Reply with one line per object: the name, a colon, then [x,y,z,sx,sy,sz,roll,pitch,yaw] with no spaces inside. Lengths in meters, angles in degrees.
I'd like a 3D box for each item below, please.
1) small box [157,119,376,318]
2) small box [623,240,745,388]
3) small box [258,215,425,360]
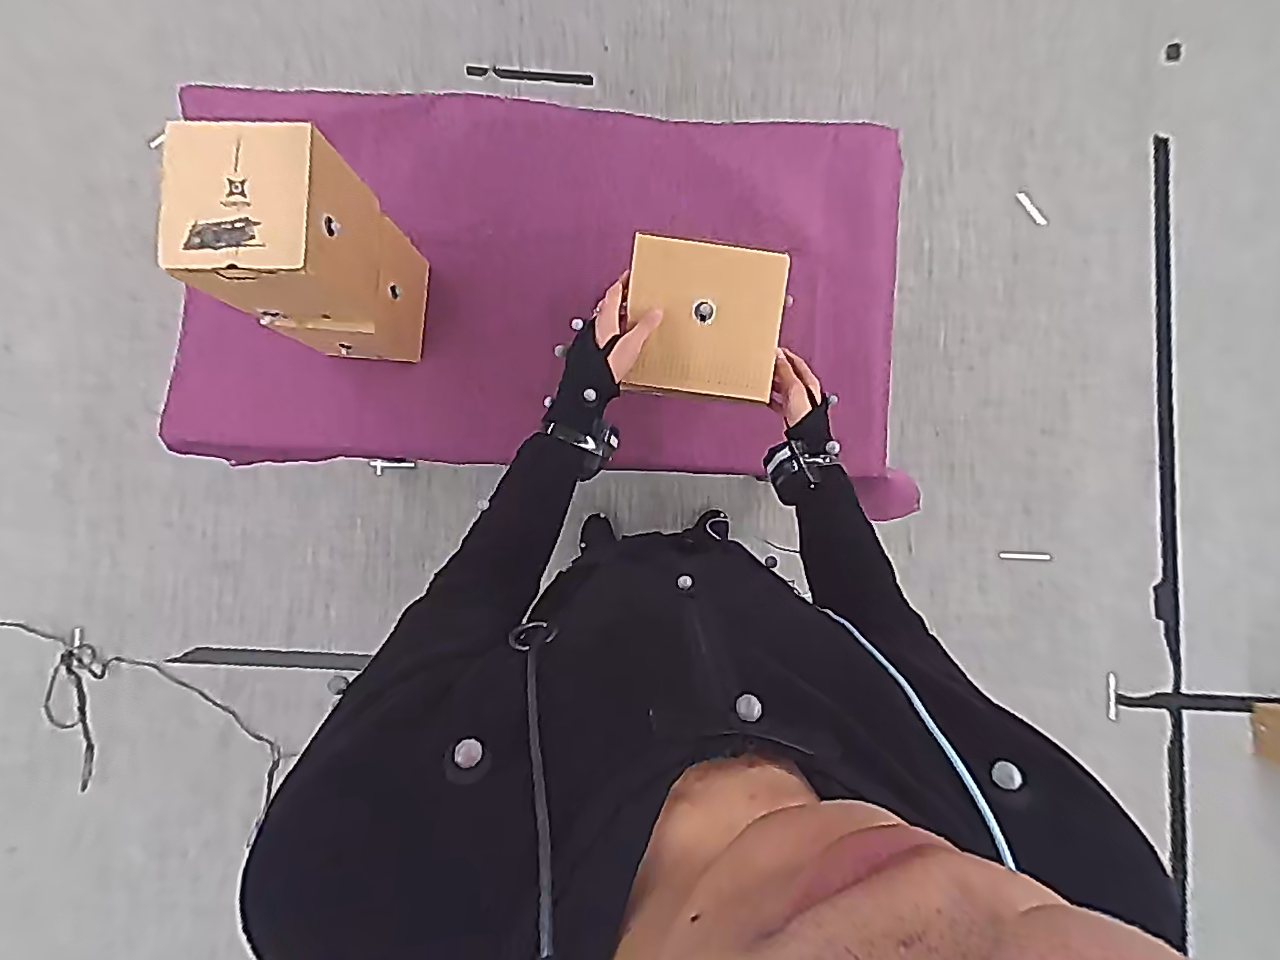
small box: [-0.455,-0.315,0.685,0.168,0.176,0.179,1,87,-1]
small box: [0.064,-0.251,0.857,0.168,0.176,0.179,5,87,0]
small box: [-0.454,-0.297,0.848,0.168,0.176,0.179,5,88,-1]
